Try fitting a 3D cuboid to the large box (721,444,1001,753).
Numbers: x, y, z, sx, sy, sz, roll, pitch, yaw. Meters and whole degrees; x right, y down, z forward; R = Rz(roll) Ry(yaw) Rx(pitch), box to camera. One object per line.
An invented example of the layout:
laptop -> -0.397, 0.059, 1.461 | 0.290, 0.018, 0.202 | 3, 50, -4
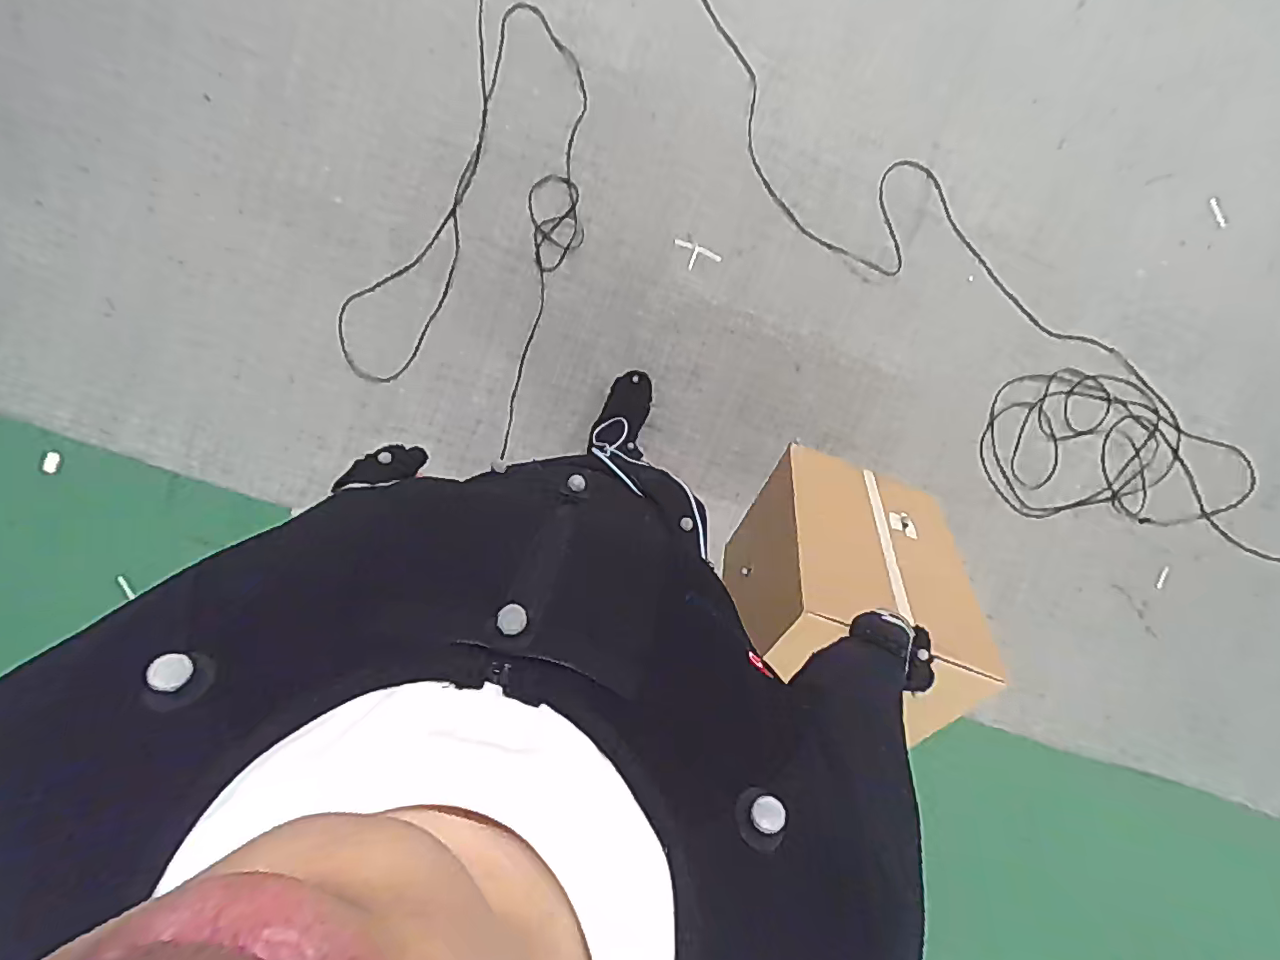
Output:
large box -> 0.352, 0.207, 0.992 | 0.320, 0.408, 0.320 | 21, 128, -4
